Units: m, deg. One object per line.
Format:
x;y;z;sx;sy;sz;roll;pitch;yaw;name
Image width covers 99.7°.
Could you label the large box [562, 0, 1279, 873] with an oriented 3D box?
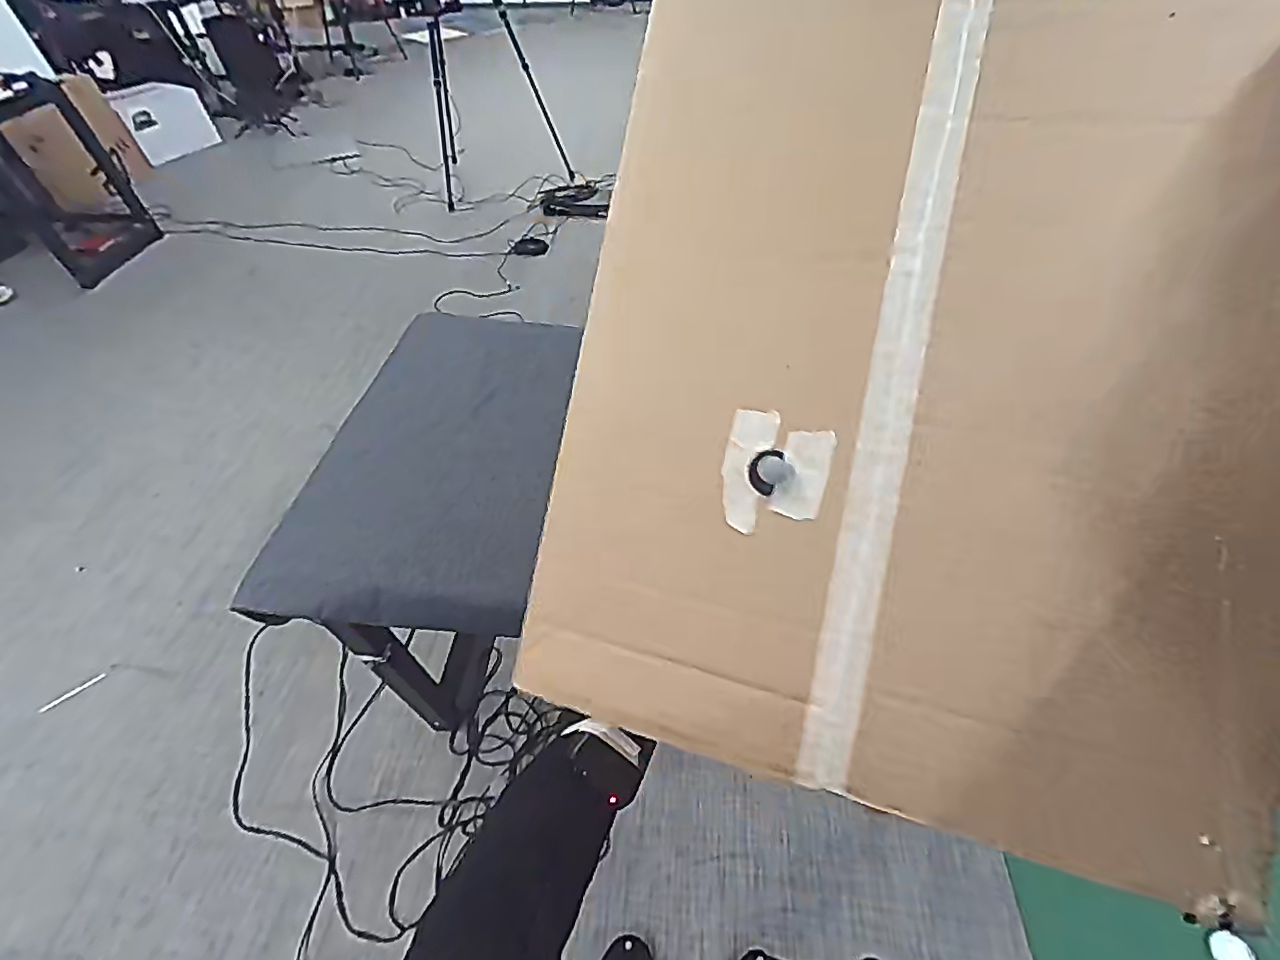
0.169;-0.048;0.407;0.320;0.320;0.408;10;90;16;large box
